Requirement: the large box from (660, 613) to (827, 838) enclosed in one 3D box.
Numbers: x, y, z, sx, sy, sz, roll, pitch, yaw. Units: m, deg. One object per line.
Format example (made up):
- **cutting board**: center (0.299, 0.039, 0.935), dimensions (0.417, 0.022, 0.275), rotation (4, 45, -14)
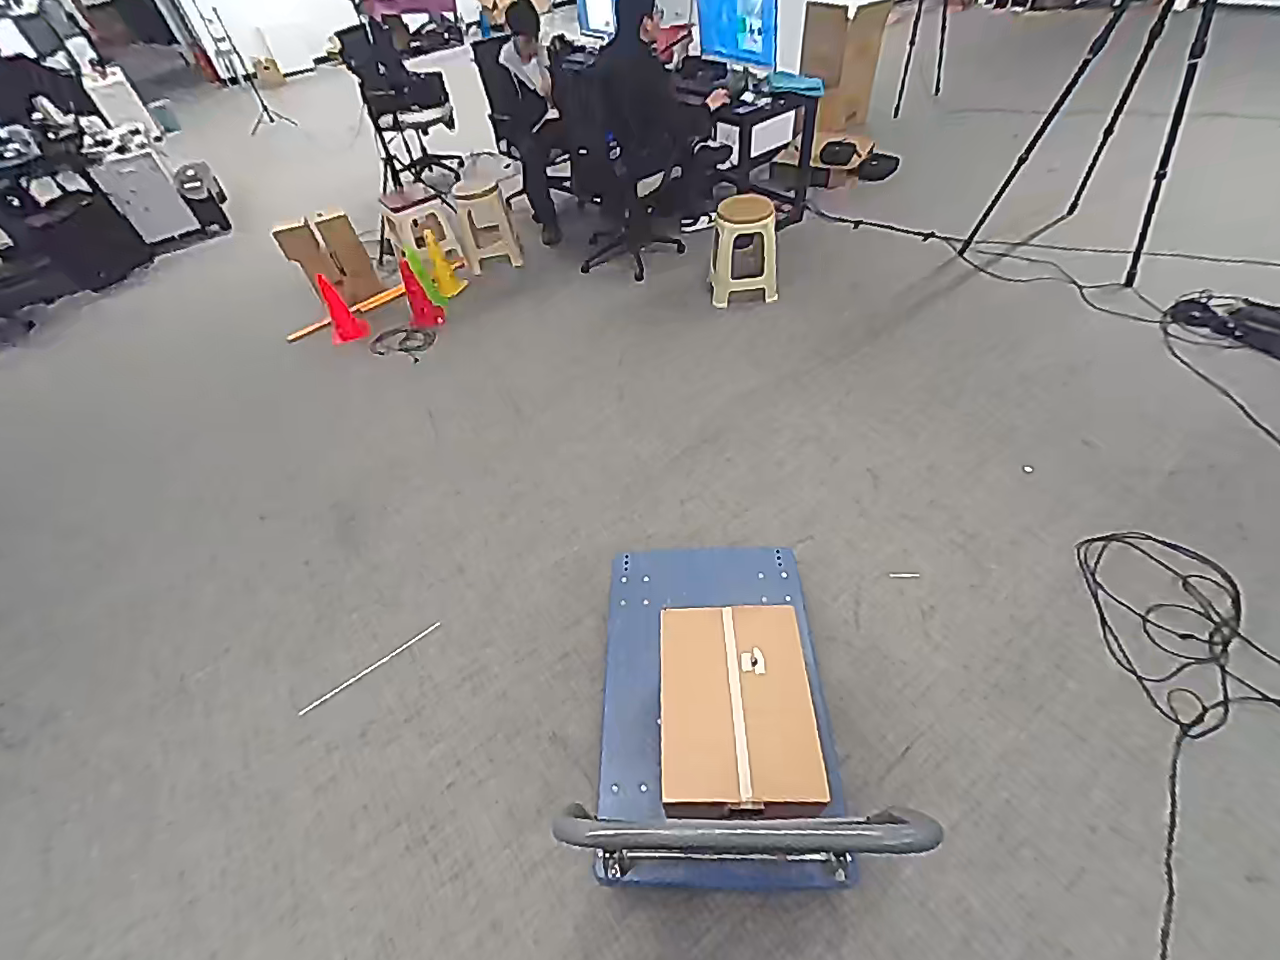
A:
- **large box**: center (0.215, 0.569, 1.259), dimensions (0.320, 0.320, 0.408), rotation (-2, 47, 4)
